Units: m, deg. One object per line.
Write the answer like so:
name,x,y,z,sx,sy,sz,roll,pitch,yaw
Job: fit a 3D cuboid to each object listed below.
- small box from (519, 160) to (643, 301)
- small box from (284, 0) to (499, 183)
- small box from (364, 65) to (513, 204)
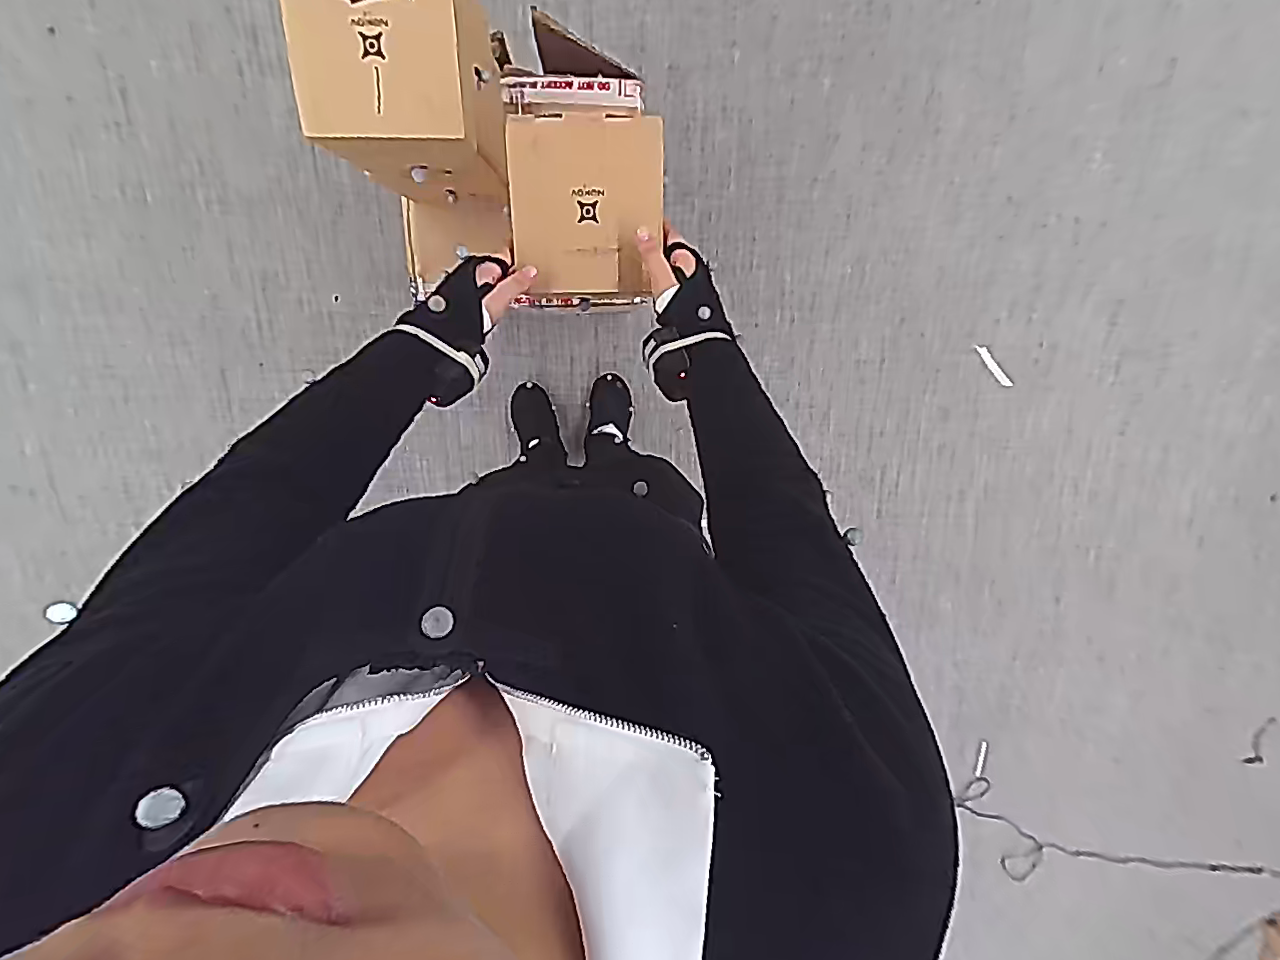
small box,-0.083,-0.361,0.811,0.168,0.176,0.179,-2,107,-4
small box,-0.260,-0.449,0.601,0.168,0.176,0.179,0,108,-2
small box,-0.282,-0.501,0.756,0.168,0.176,0.179,-4,108,-1
